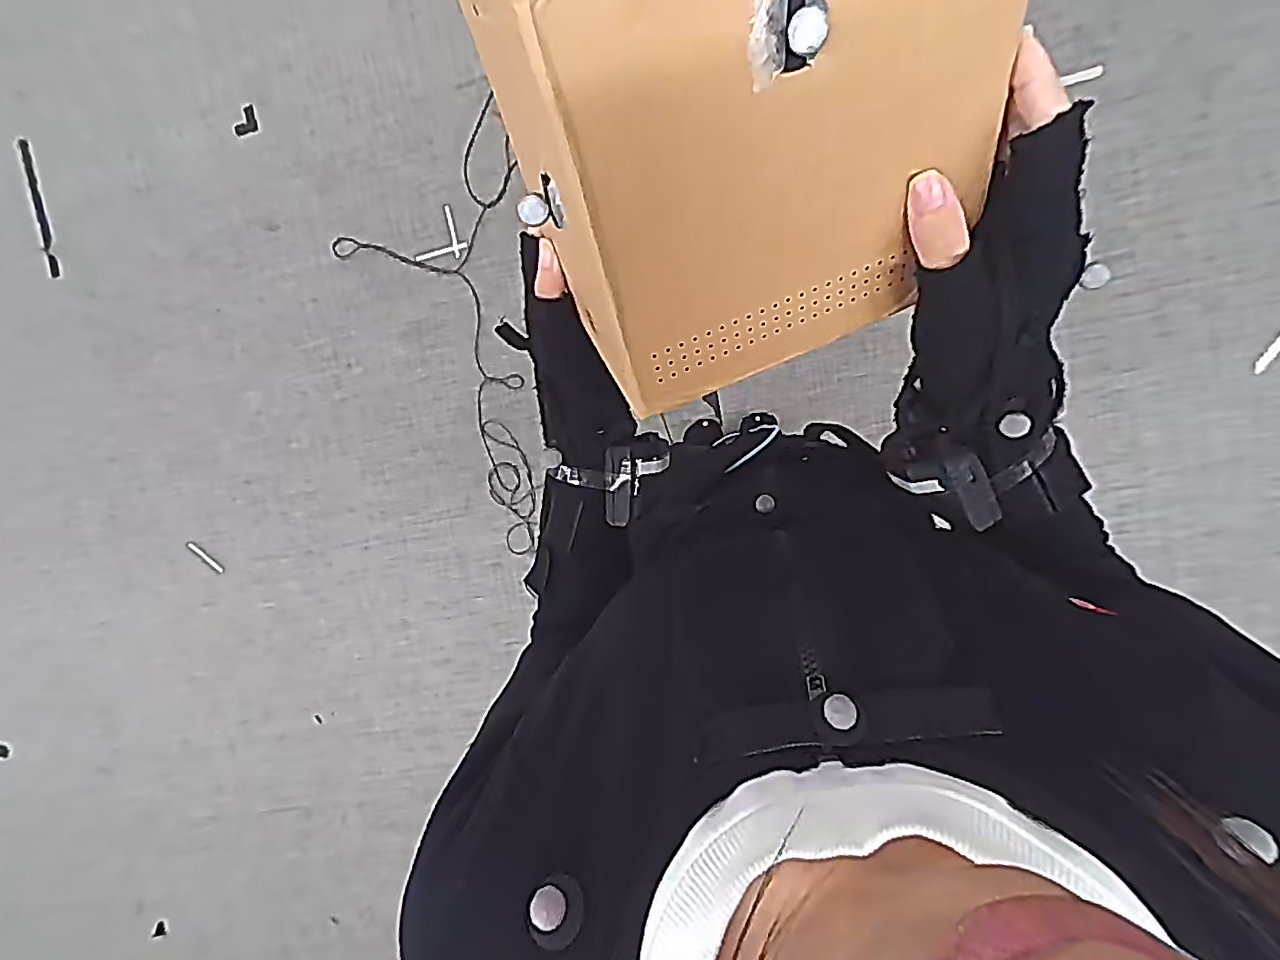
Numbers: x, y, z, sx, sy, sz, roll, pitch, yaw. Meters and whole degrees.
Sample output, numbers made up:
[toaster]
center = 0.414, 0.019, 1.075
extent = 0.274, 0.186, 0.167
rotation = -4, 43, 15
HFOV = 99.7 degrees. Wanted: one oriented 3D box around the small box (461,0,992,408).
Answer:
[small box]
center = 0.037, -0.162, 0.261
extent = 0.179, 0.168, 0.176
rotation = -23, 136, -4
